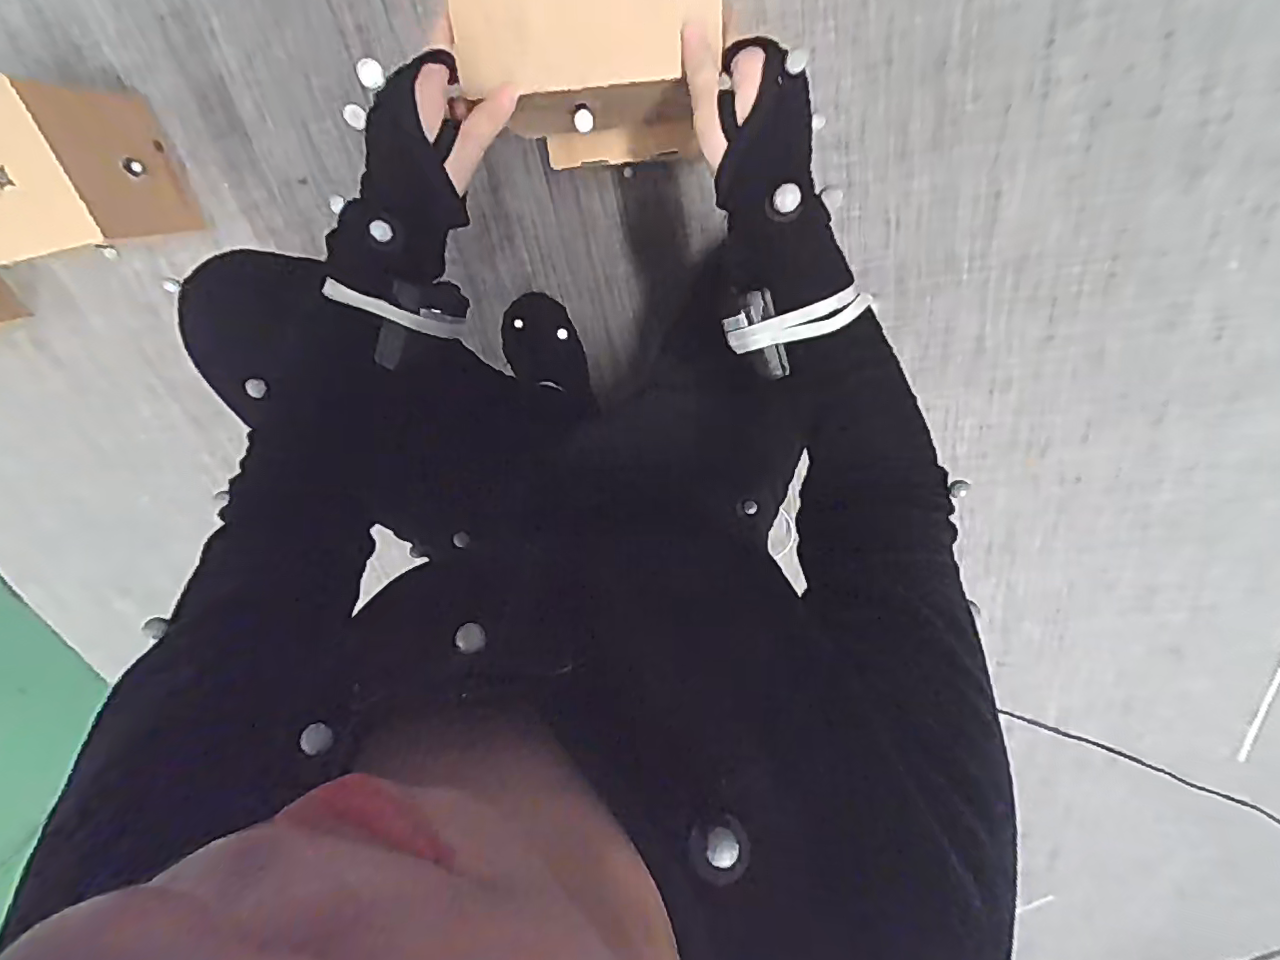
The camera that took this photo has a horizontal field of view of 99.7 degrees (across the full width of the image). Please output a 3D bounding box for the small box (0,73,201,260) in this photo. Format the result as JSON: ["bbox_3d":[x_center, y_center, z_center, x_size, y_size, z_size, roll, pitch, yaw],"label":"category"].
[{"bbox_3d":[-0.715,-0.388,0.686,0.179,0.176,0.168,-7,117,9],"label":"small box"}]

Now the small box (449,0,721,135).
[{"bbox_3d":[-0.031,-0.367,0.398,0.179,0.176,0.168,-2,115,5],"label":"small box"}]

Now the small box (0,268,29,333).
[{"bbox_3d":[-1.082,-0.273,0.786,0.179,0.176,0.168,-18,116,14],"label":"small box"}]
